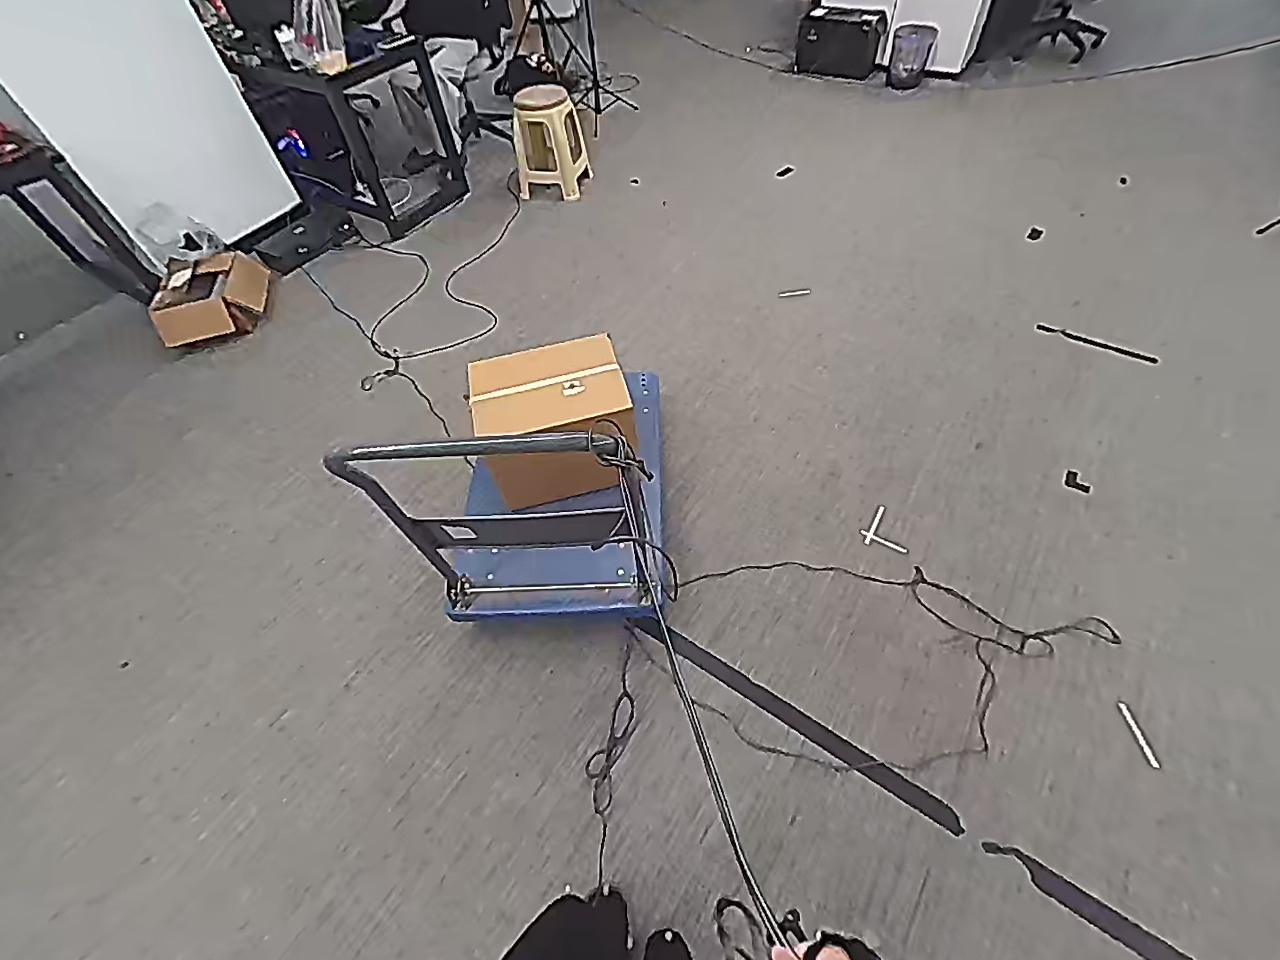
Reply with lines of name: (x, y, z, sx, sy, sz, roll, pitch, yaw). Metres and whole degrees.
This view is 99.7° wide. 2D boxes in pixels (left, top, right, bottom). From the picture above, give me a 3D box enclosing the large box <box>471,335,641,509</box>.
large box: (-0.233, -0.160, 1.547, 0.408, 0.320, 0.320, -13, 55, -6)
